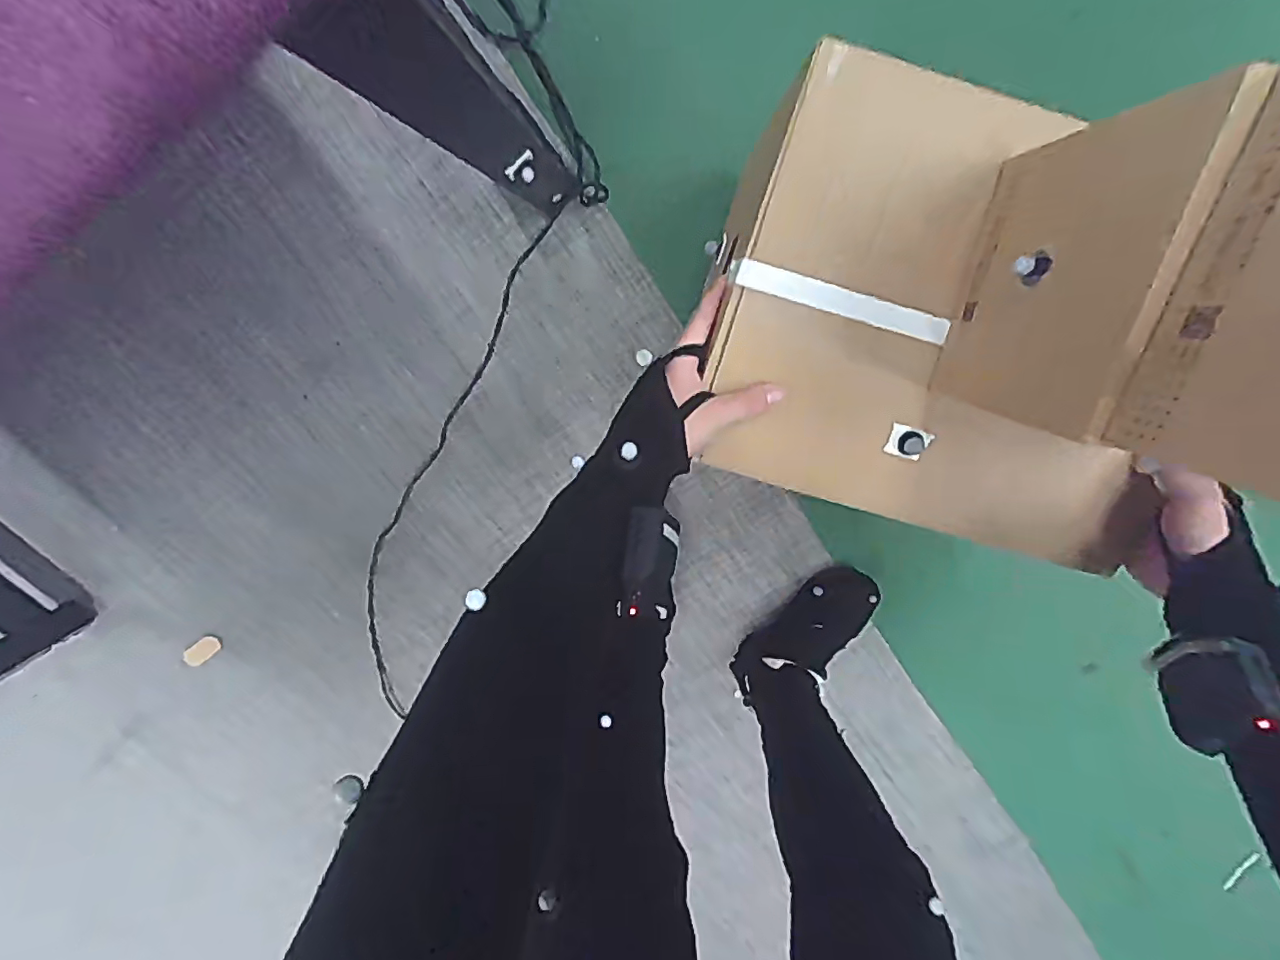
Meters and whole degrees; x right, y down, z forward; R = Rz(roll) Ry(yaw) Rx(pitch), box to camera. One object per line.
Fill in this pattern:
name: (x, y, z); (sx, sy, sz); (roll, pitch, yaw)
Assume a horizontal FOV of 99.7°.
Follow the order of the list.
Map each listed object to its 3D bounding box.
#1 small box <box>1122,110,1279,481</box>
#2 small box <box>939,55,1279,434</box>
small box: (0.327, -0.060, 0.173); (0.179, 0.176, 0.168); (10, 109, 0)
small box: (0.322, -0.113, 0.328); (0.179, 0.176, 0.168); (10, 109, -1)
